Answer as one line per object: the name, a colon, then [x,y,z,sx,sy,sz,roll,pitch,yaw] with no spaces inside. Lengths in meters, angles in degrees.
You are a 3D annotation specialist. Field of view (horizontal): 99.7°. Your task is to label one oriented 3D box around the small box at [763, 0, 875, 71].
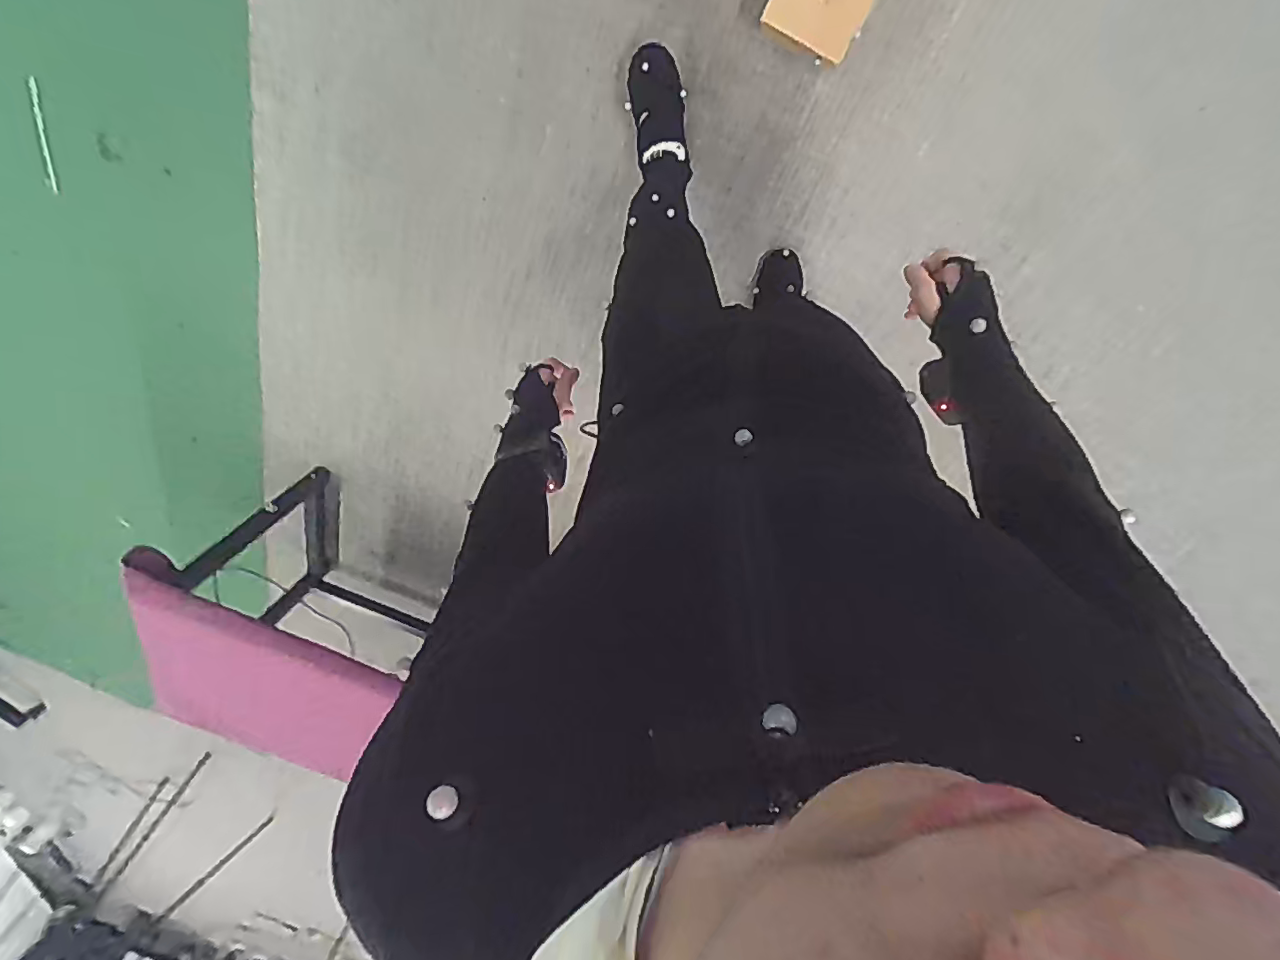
small box: [0.354,-0.928,1.050,0.179,0.176,0.168,26,124,-4]
